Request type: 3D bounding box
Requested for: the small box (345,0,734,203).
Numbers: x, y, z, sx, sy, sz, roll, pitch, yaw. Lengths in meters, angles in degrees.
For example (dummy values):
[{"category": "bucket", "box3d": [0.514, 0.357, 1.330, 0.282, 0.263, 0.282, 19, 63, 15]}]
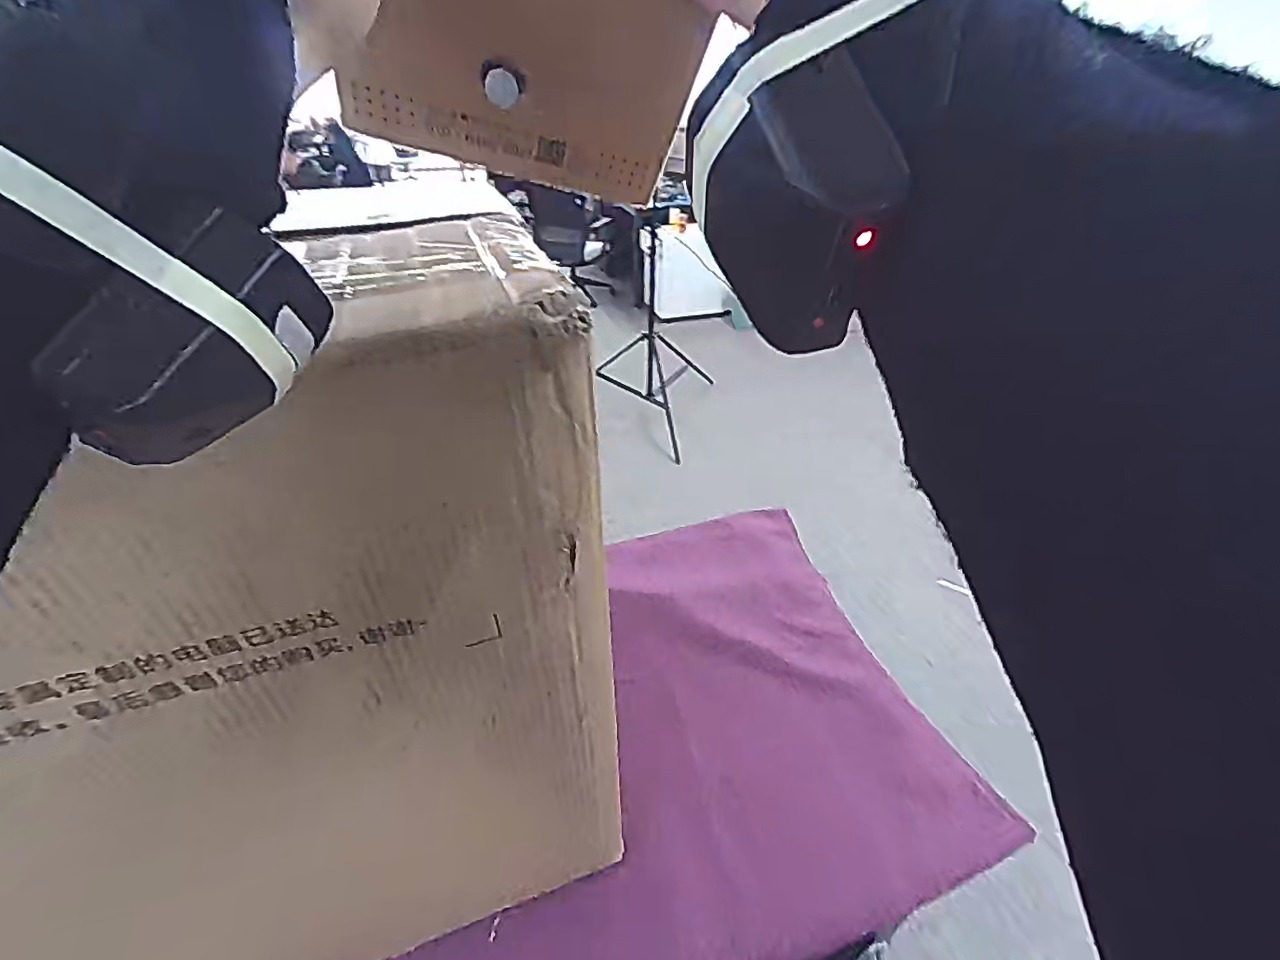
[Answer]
[{"category": "small box", "box3d": [-0.047, -0.280, 0.265, 0.168, 0.176, 0.179, 6, 65, -16]}]
